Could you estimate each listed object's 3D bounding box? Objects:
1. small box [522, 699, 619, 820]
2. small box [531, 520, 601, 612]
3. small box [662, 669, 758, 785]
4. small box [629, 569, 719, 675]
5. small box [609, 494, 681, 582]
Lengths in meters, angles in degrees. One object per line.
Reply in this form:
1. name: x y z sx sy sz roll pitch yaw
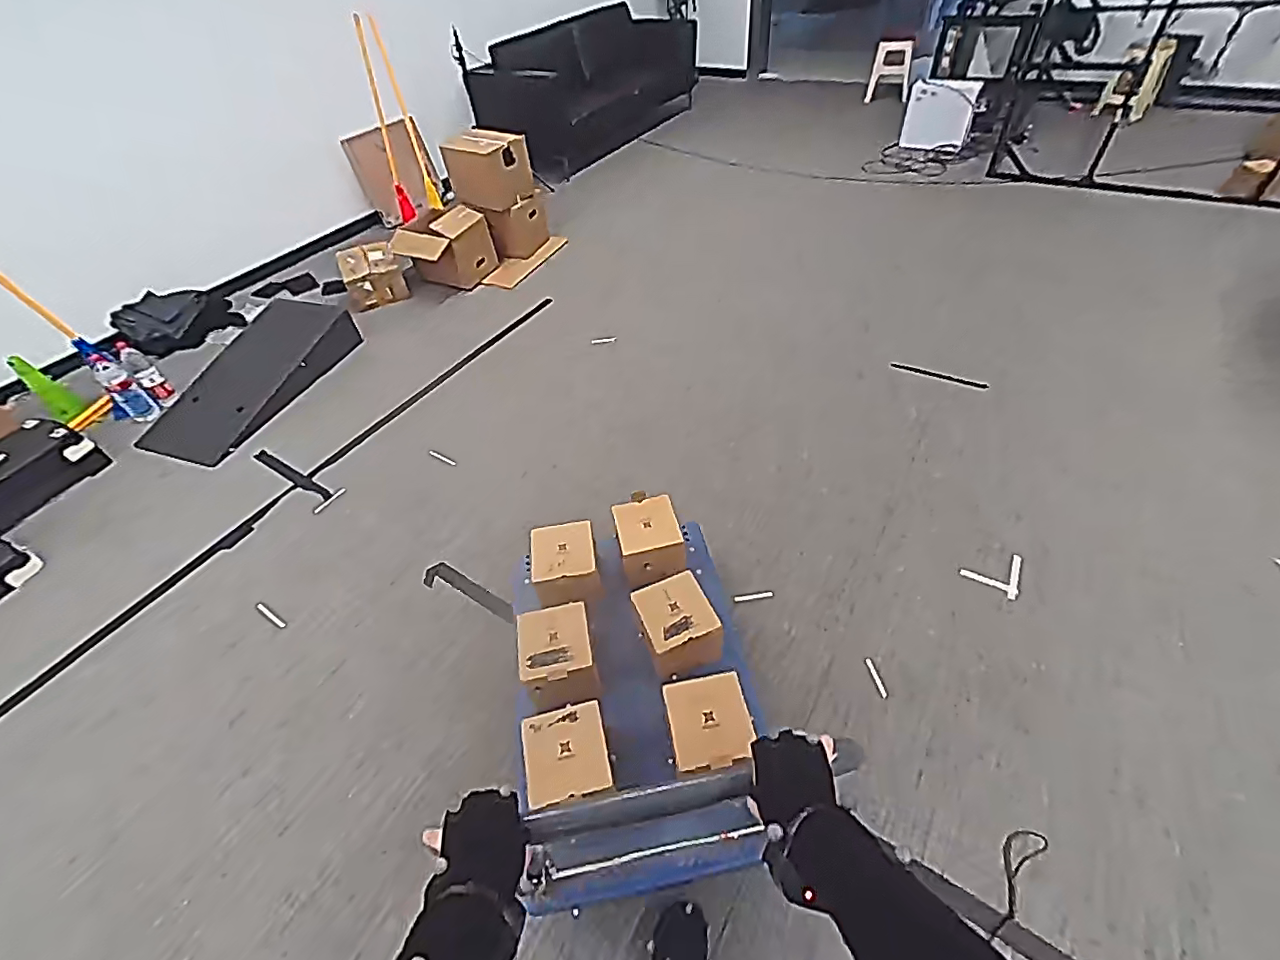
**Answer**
1. small box: -0.145 0.597 1.144 0.168 0.176 0.179 -12 48 -8
2. small box: -0.204 0.238 1.486 0.168 0.176 0.179 -9 48 -3
3. small box: 0.146 0.541 1.174 0.168 0.176 0.179 -9 46 -5
4. small box: 0.085 0.361 1.347 0.168 0.176 0.179 -19 48 -13
5. small box: 0.017 0.171 1.531 0.168 0.176 0.179 -13 47 -7
